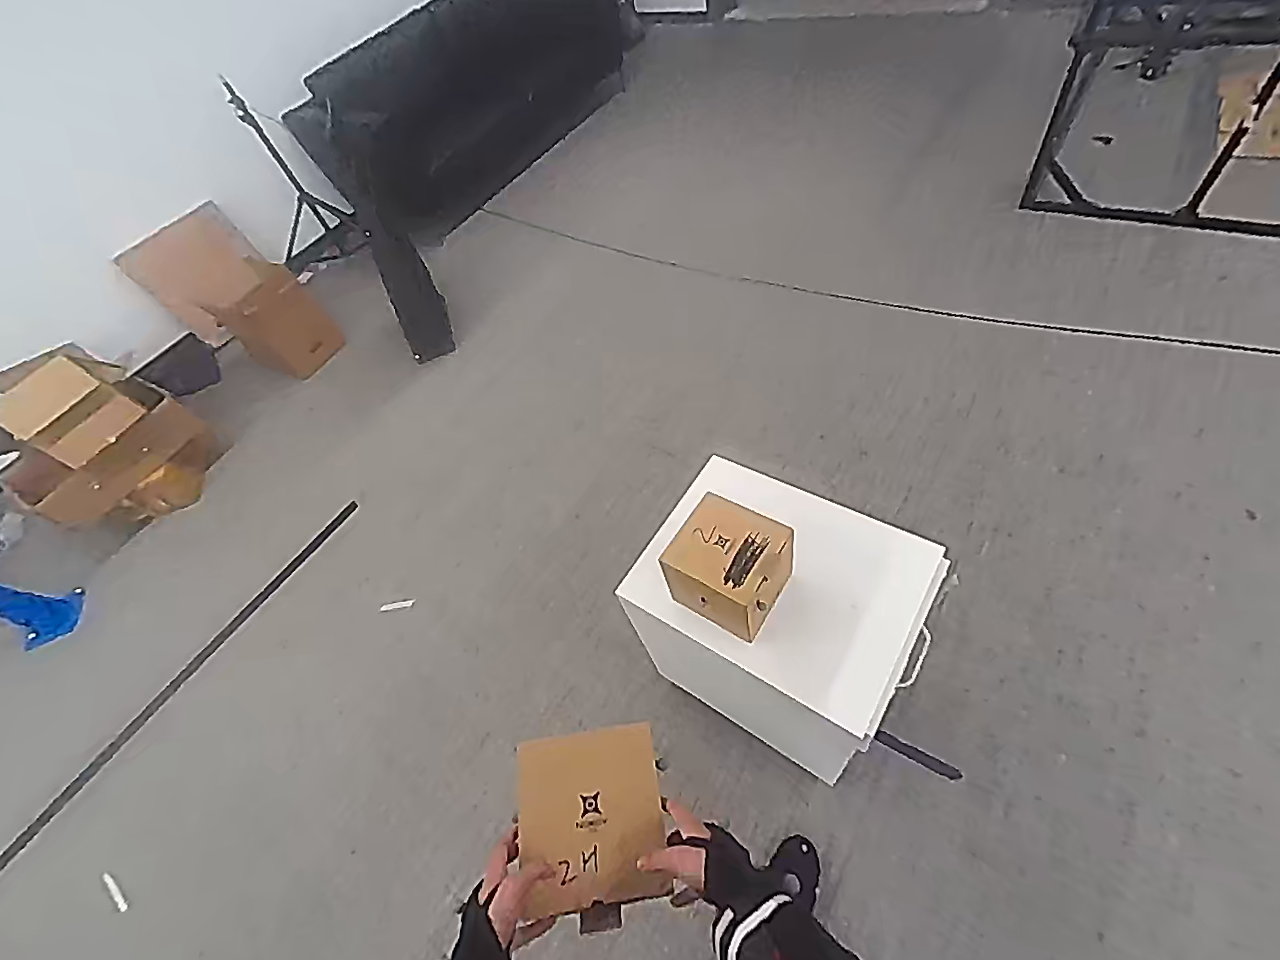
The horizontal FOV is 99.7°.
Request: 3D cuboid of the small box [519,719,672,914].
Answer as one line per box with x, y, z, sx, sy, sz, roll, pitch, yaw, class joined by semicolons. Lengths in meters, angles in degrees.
-0.057;0.421;0.685;0.168;0.176;0.179;-7;57;-4;small box
